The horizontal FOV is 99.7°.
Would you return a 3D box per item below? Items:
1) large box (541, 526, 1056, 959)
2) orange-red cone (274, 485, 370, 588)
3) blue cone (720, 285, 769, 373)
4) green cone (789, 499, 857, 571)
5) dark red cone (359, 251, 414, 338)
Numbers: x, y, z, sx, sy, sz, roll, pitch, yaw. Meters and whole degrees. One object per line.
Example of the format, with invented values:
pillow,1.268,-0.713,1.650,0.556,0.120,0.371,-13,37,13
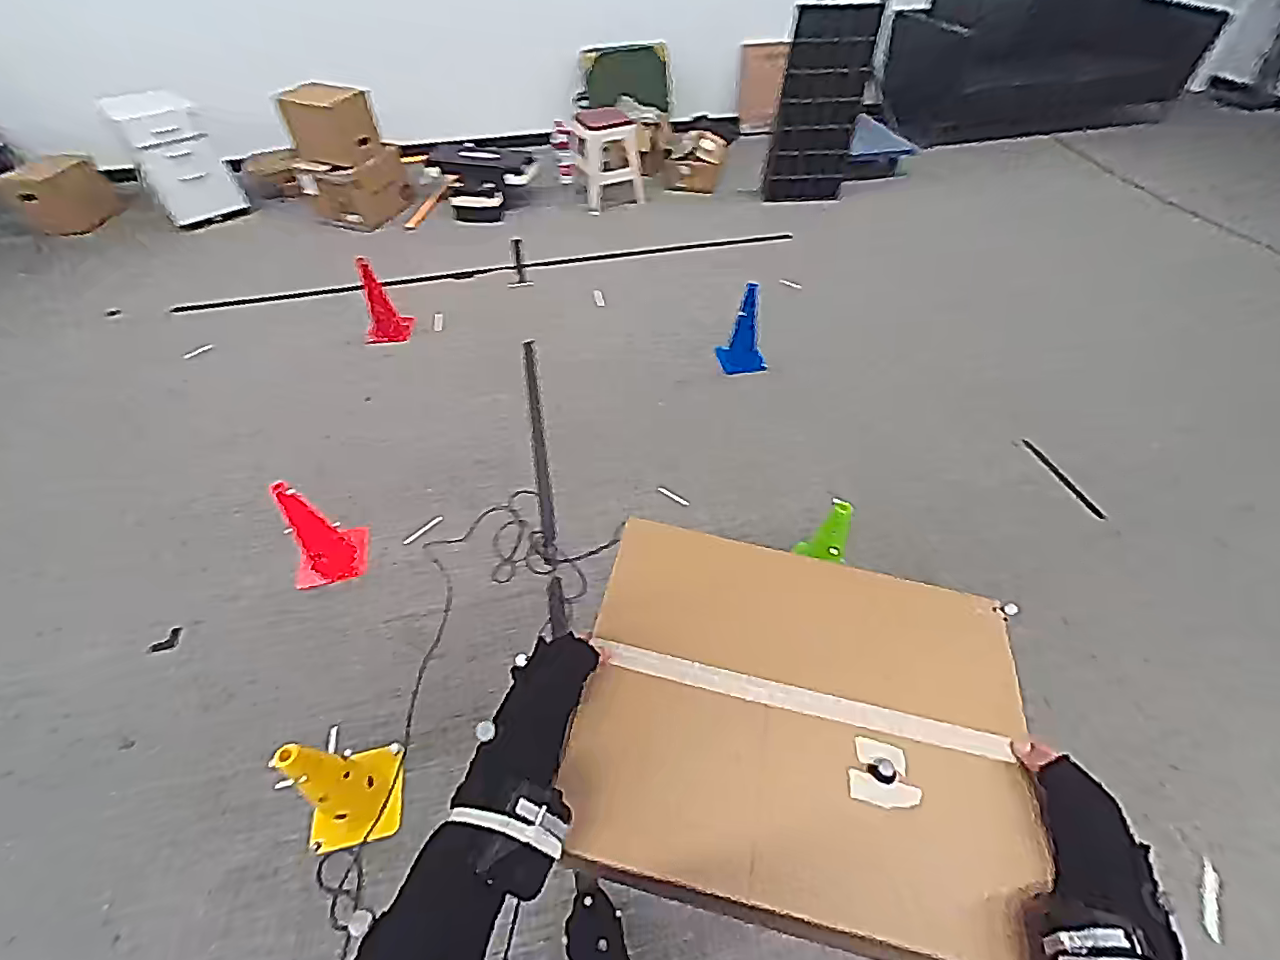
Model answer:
large box,0.129,0.296,0.616,0.408,0.320,0.320,12,52,4
orange-red cone,-0.986,0.140,1.625,0.198,0.360,0.199,-12,51,-8
blue cone,0.466,-0.652,2.308,0.192,0.380,0.193,-6,49,-6
green cone,0.550,0.186,1.552,0.200,0.368,0.202,33,55,25
dark red cone,-1.187,-0.841,2.454,0.201,0.394,0.202,-5,49,-4
